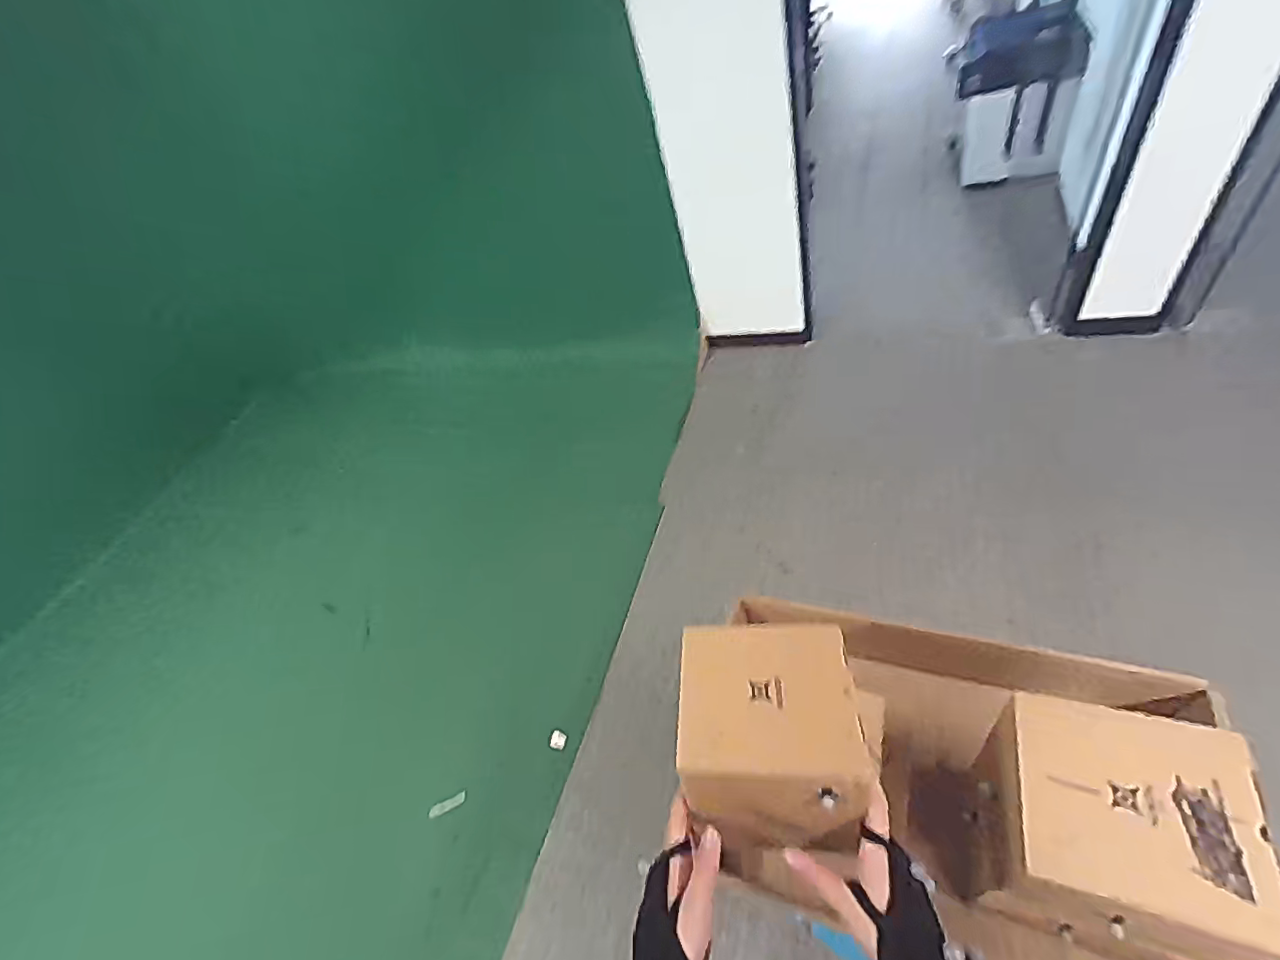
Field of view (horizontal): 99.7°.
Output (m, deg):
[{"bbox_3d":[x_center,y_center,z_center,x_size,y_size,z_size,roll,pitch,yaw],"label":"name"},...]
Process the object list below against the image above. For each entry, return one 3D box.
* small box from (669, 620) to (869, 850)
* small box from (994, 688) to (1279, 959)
[{"bbox_3d":[0.132,0.271,0.580,0.179,0.176,0.168,-3,35,9],"label":"small box"},{"bbox_3d":[0.460,0.329,0.521,0.179,0.176,0.168,4,51,26],"label":"small box"}]
